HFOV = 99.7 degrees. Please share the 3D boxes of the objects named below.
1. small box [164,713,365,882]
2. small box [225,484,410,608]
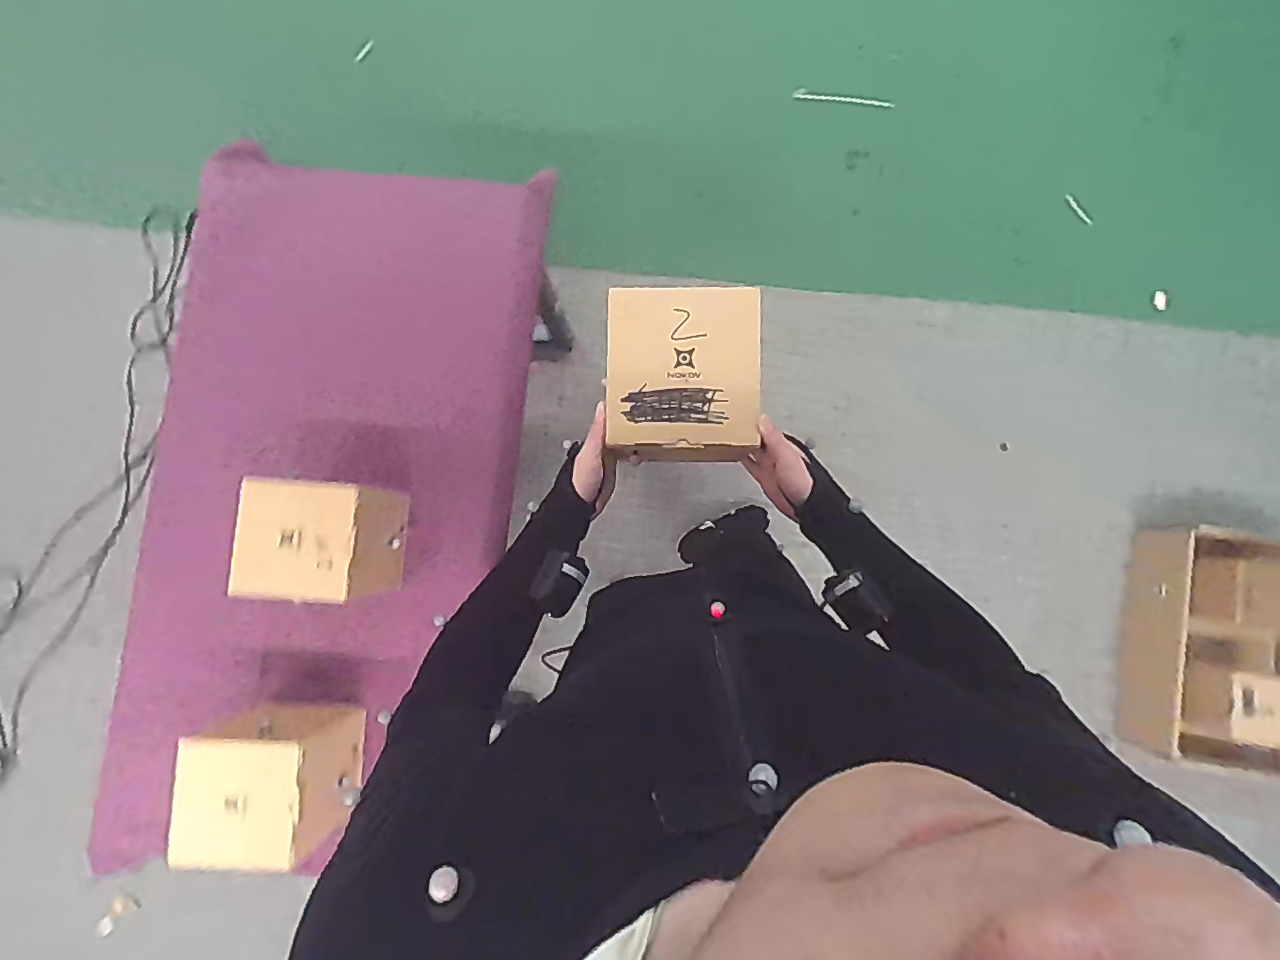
[{"bbox_3d":[-0.546,0.459,0.807,0.179,0.176,0.168,1,83,1],"label":"small box"},{"bbox_3d":[-0.488,0.101,0.842,0.179,0.176,0.168,3,84,2],"label":"small box"}]
